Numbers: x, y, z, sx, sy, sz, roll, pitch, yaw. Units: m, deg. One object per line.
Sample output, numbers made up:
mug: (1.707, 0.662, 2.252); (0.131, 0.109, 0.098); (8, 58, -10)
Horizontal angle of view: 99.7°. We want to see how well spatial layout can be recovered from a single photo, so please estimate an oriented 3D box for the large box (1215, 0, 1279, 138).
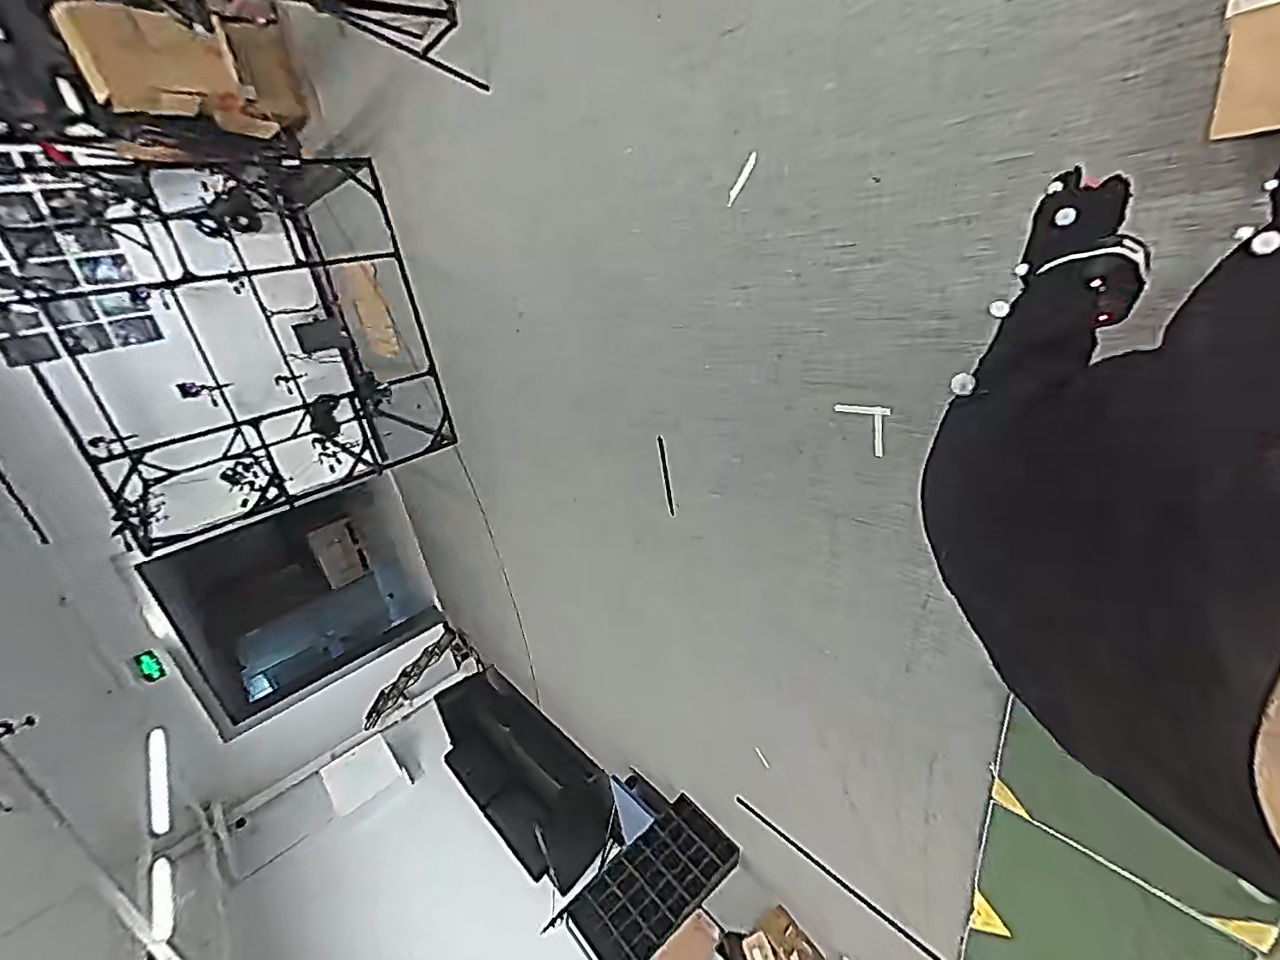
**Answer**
large box: (1.021, -0.644, 0.650); (0.408, 0.320, 0.320); (15, 123, 46)
